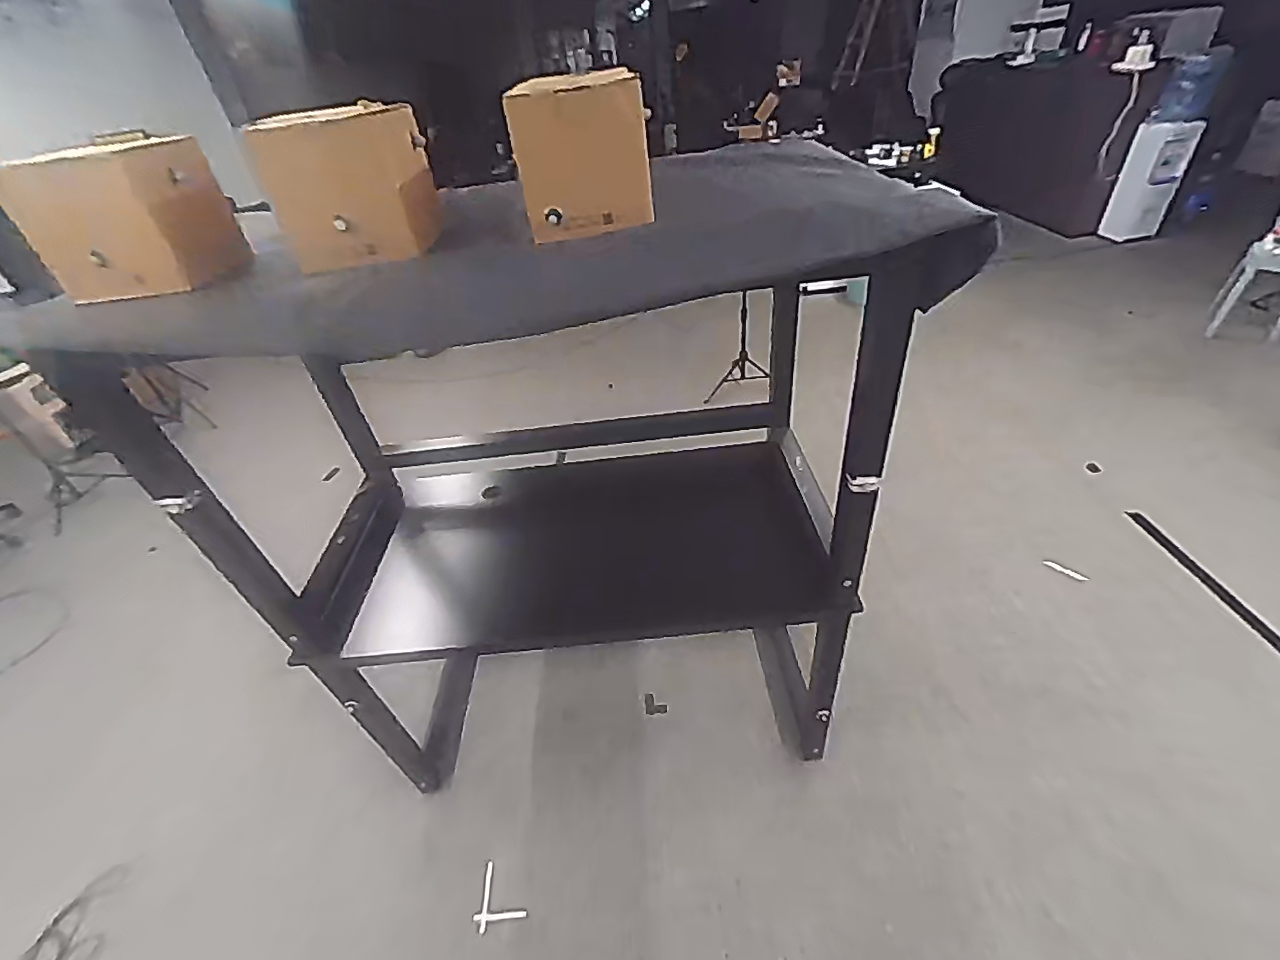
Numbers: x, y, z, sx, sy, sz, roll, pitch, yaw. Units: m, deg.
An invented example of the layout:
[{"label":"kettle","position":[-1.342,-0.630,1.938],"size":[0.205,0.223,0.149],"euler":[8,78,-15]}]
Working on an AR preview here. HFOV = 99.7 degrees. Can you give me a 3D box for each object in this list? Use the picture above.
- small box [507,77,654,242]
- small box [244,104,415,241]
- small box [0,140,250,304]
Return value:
[{"label":"small box","position":[-0.074,-0.440,0.749],"size":[0.168,0.176,0.179],"euler":[-7,38,0]},{"label":"small box","position":[-0.511,-0.525,0.925],"size":[0.179,0.176,0.168],"euler":[-8,39,-1]},{"label":"small box","position":[-0.692,-0.360,0.752],"size":[0.168,0.176,0.179],"euler":[-7,38,-1]}]
